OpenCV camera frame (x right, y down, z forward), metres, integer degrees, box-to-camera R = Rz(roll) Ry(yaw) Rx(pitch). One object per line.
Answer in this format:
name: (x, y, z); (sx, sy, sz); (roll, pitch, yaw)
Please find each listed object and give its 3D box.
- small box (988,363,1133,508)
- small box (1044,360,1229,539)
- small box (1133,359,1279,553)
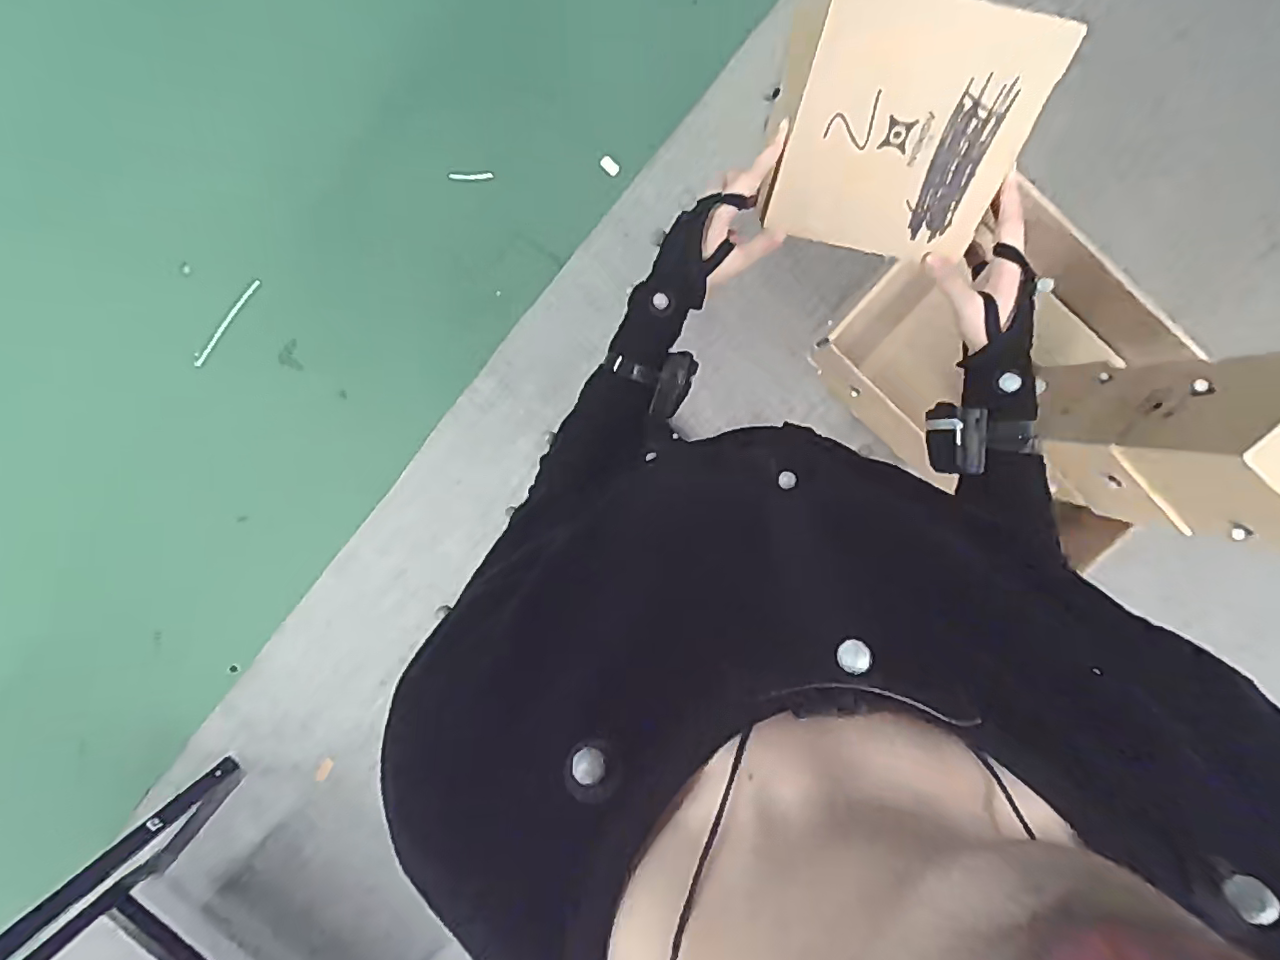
small box: (0.748, -0.077, 0.936); (0.179, 0.176, 0.168); (-42, 92, 8)
small box: (0.743, -0.046, 0.774); (0.168, 0.176, 0.179); (-44, 93, 9)
small box: (0.741, -0.027, 0.612); (0.168, 0.176, 0.179); (-44, 92, 8)
